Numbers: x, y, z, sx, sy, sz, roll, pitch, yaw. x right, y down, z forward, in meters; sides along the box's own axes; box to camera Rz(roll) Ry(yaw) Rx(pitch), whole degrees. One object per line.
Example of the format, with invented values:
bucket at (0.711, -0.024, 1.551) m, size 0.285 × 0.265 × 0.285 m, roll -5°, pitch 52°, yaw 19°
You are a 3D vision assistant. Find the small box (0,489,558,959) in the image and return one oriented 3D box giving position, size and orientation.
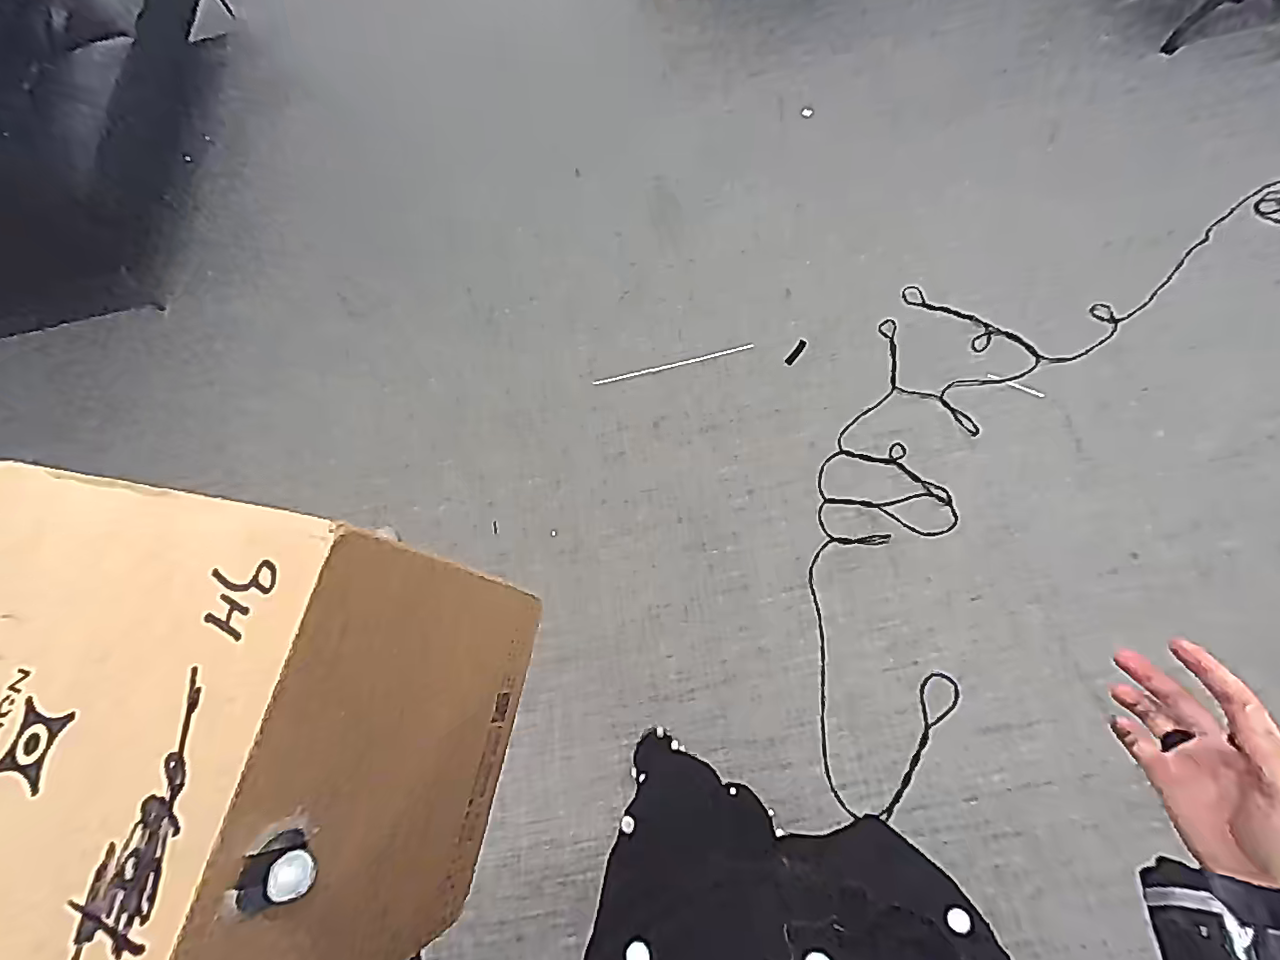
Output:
small box at (-0.163, 0.115, 0.249) m, size 0.179 × 0.176 × 0.168 m, roll 6°, pitch 72°, yaw 17°
